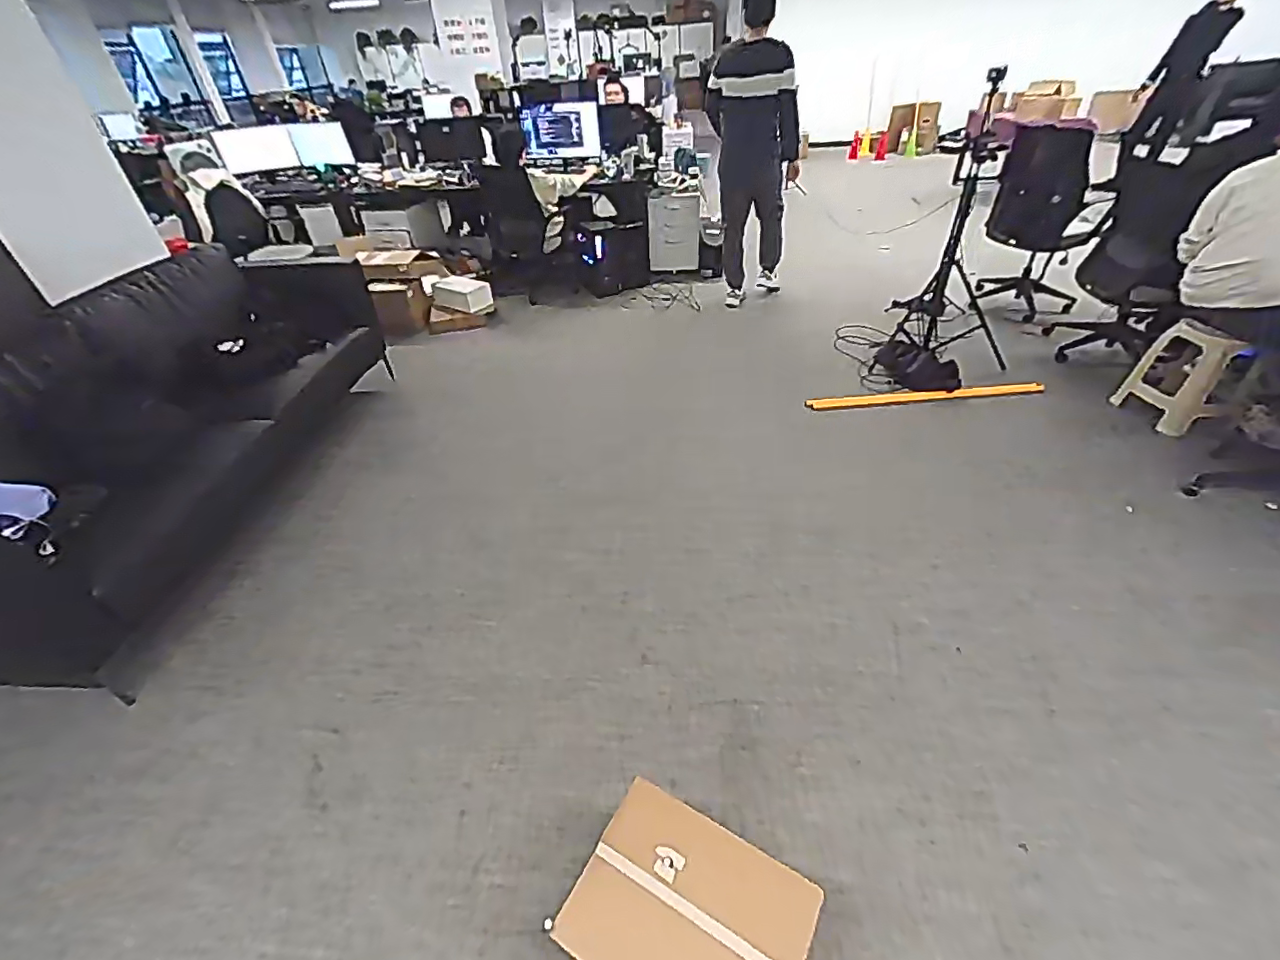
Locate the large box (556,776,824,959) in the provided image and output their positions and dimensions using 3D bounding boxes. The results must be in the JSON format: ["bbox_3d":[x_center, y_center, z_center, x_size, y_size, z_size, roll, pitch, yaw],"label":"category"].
[{"bbox_3d":[0.108,0.887,1.073,0.408,0.320,0.320,18,44,27],"label":"large box"}]
